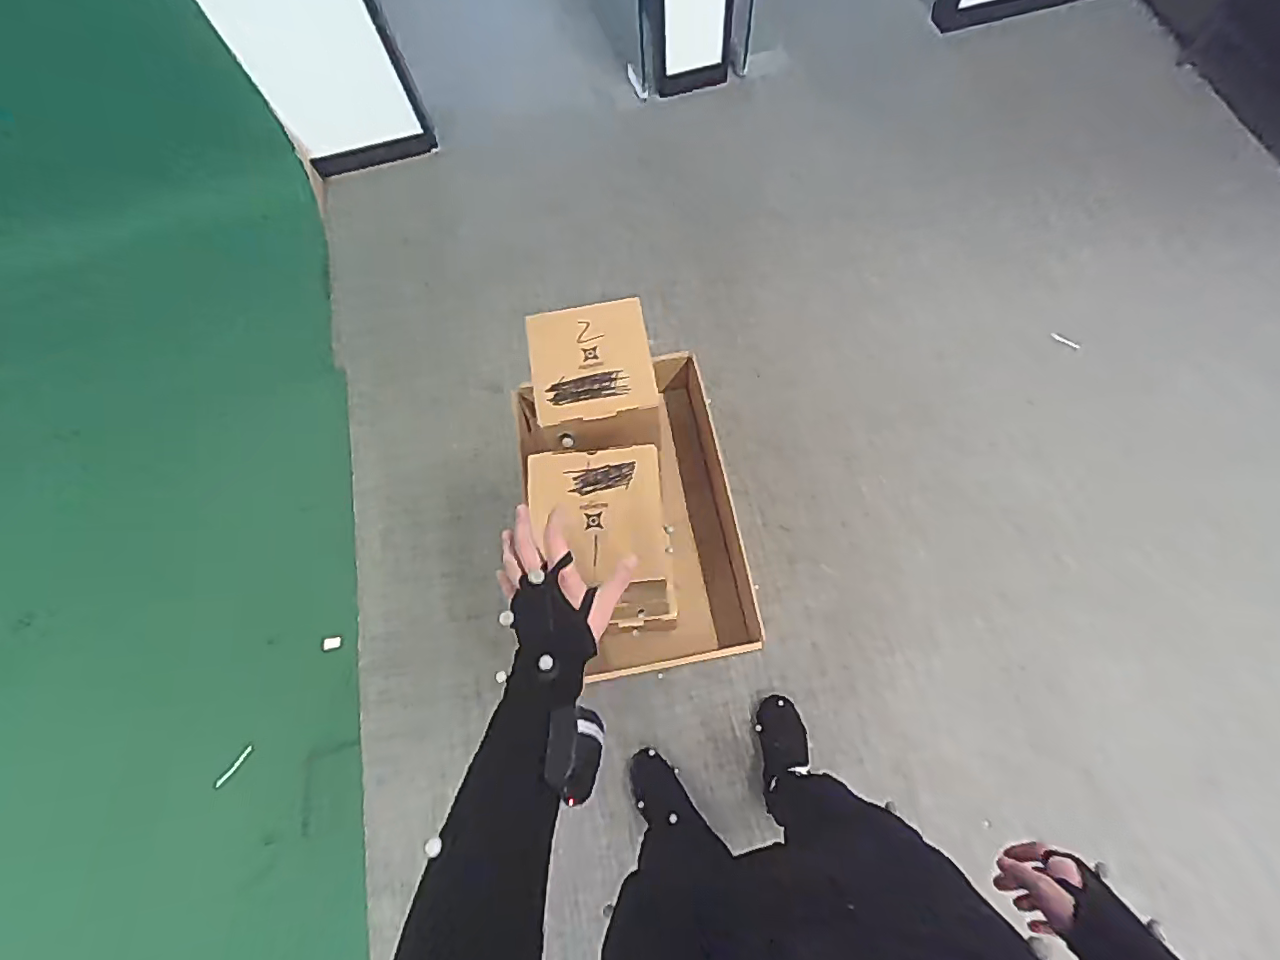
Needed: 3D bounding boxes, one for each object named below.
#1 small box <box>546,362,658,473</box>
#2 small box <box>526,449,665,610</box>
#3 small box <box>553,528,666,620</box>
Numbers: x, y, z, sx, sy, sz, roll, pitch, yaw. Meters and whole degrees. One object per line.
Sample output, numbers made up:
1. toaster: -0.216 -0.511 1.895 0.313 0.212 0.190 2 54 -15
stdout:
1. small box: -0.065 -0.084 0.974 0.168 0.176 0.179 -11 72 -2
2. small box: -0.056 0.074 0.738 0.168 0.176 0.179 -5 69 1
3. small box: -0.046 0.133 0.890 0.168 0.176 0.179 -5 68 1
